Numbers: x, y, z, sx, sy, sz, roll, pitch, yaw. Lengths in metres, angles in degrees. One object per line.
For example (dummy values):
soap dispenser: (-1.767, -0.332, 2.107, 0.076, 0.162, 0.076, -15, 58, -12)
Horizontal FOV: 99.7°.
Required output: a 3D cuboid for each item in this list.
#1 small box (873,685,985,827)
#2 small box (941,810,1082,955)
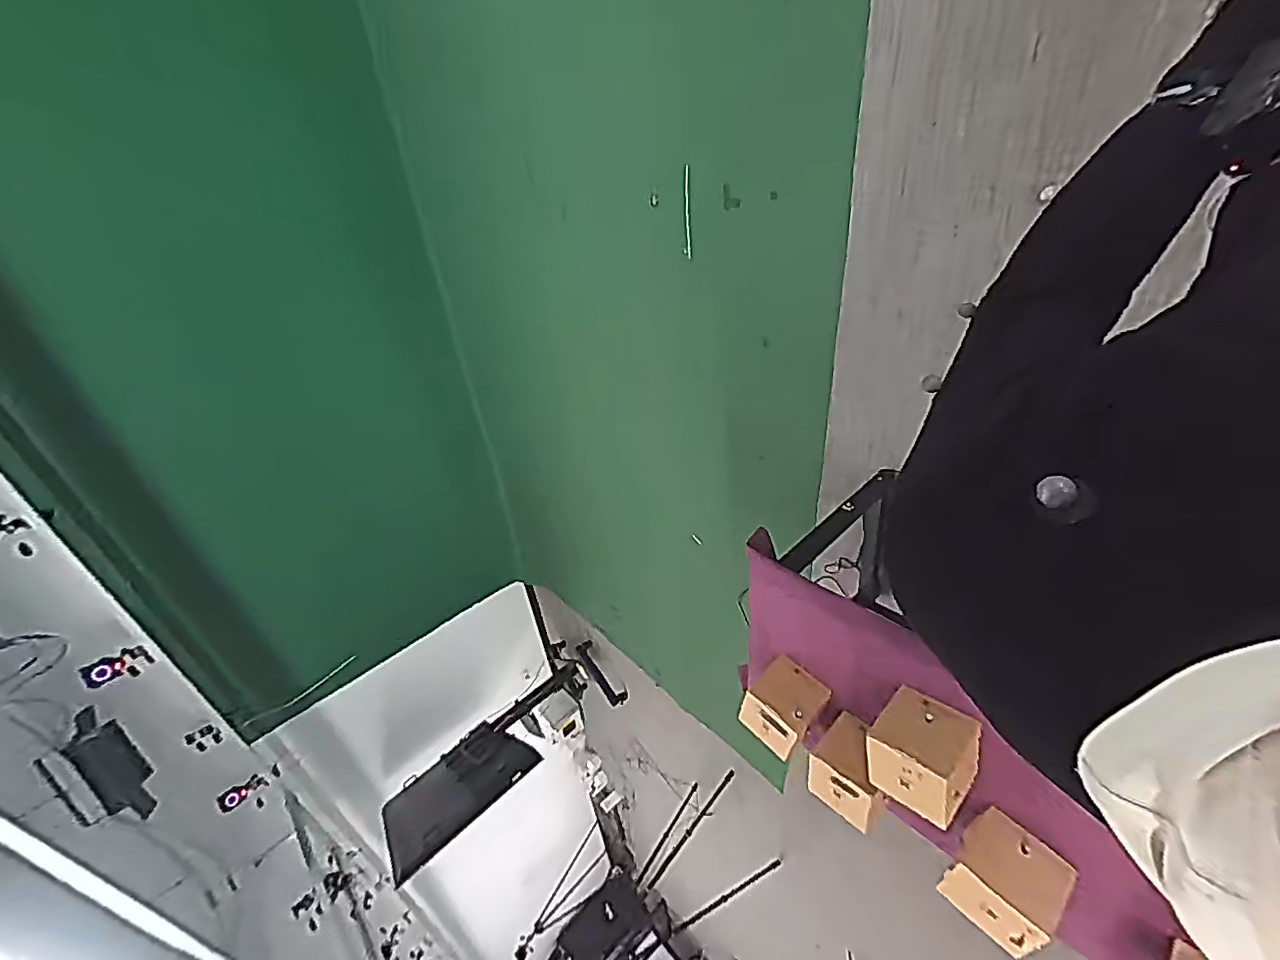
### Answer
small box: (0.630, 0.592, 1.180, 0.168, 0.176, 0.179, 17, 131, 47)
small box: (0.798, 0.855, 1.167, 0.179, 0.176, 0.168, 34, 140, 35)
